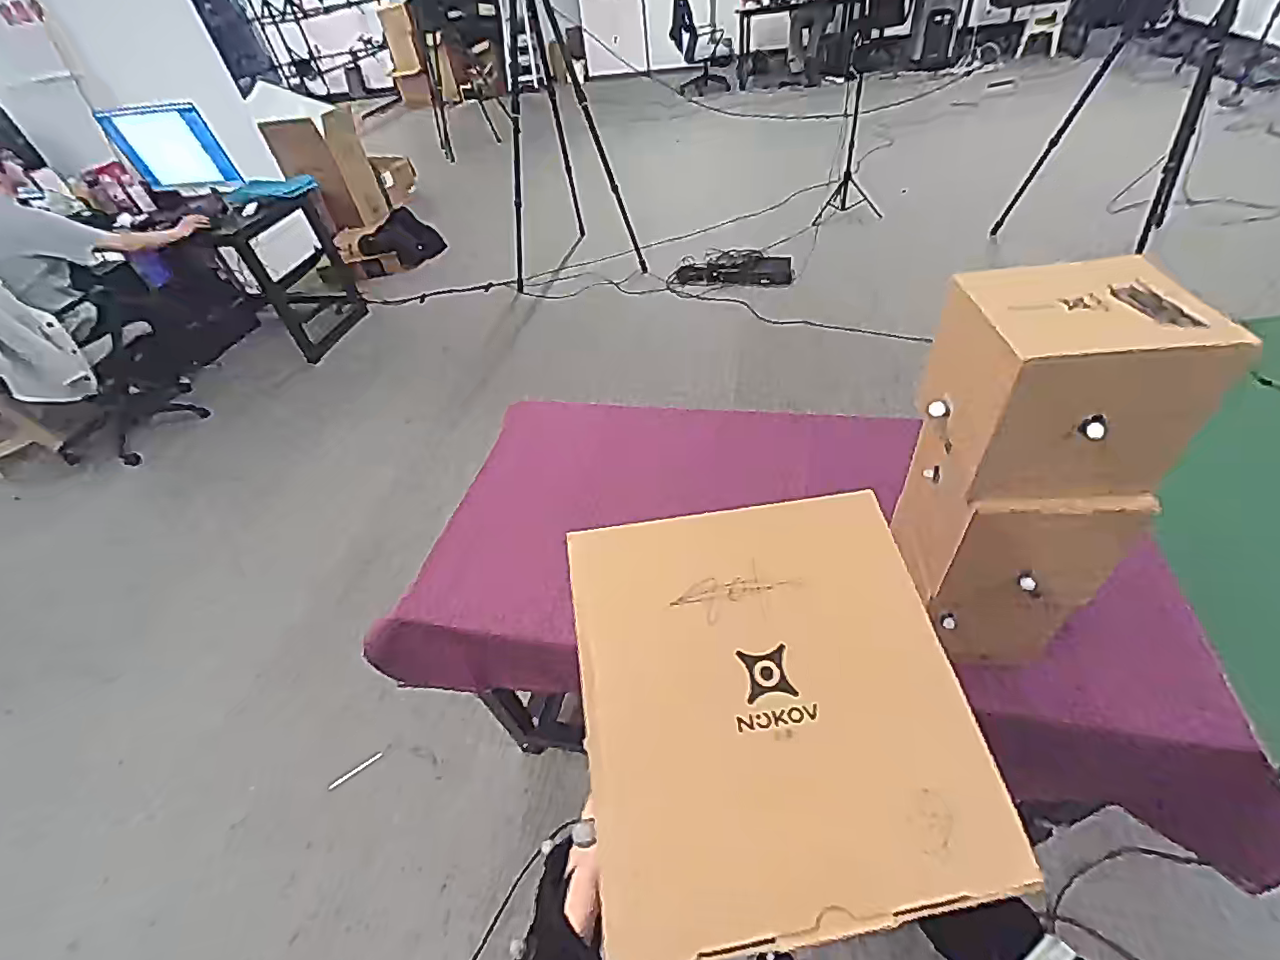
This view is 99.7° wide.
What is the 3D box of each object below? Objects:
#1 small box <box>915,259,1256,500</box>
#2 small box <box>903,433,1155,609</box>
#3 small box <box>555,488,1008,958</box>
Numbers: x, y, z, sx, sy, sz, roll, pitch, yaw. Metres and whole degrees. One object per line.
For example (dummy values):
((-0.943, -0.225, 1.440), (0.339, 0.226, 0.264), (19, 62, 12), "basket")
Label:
((0.401, -0.094, 0.533), (0.179, 0.176, 0.168), (-3, 44, 8), "small box")
((0.427, 0.030, 0.638), (0.168, 0.176, 0.179), (-1, 45, 10), "small box")
((0.048, 0.128, 0.308), (0.168, 0.176, 0.179), (-7, 58, -5), "small box")
